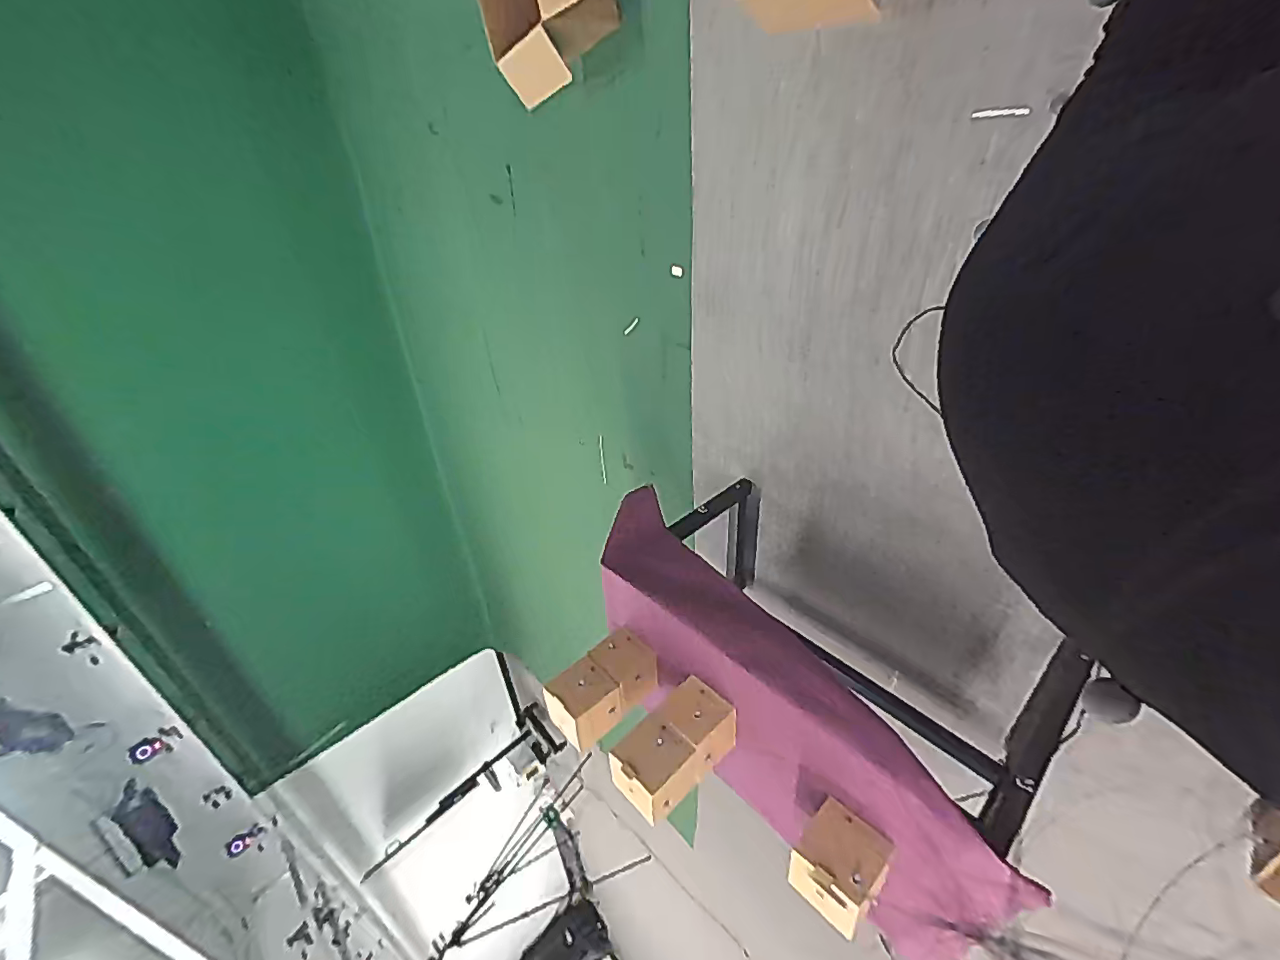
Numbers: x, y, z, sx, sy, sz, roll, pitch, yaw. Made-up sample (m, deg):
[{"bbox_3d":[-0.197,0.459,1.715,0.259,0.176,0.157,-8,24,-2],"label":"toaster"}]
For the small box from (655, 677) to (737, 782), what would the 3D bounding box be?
[{"bbox_3d":[0.162,0.702,1.542,0.168,0.176,0.179,26,134,40],"label":"small box"}]

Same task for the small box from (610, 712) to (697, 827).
[{"bbox_3d":[0.041,0.773,1.455,0.168,0.176,0.179,29,135,38],"label":"small box"}]

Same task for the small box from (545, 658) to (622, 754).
[{"bbox_3d":[-0.171,0.688,1.668,0.168,0.176,0.179,30,134,39],"label":"small box"}]

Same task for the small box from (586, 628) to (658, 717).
[{"bbox_3d":[-0.056,0.620,1.763,0.168,0.176,0.179,29,135,38],"label":"small box"}]
